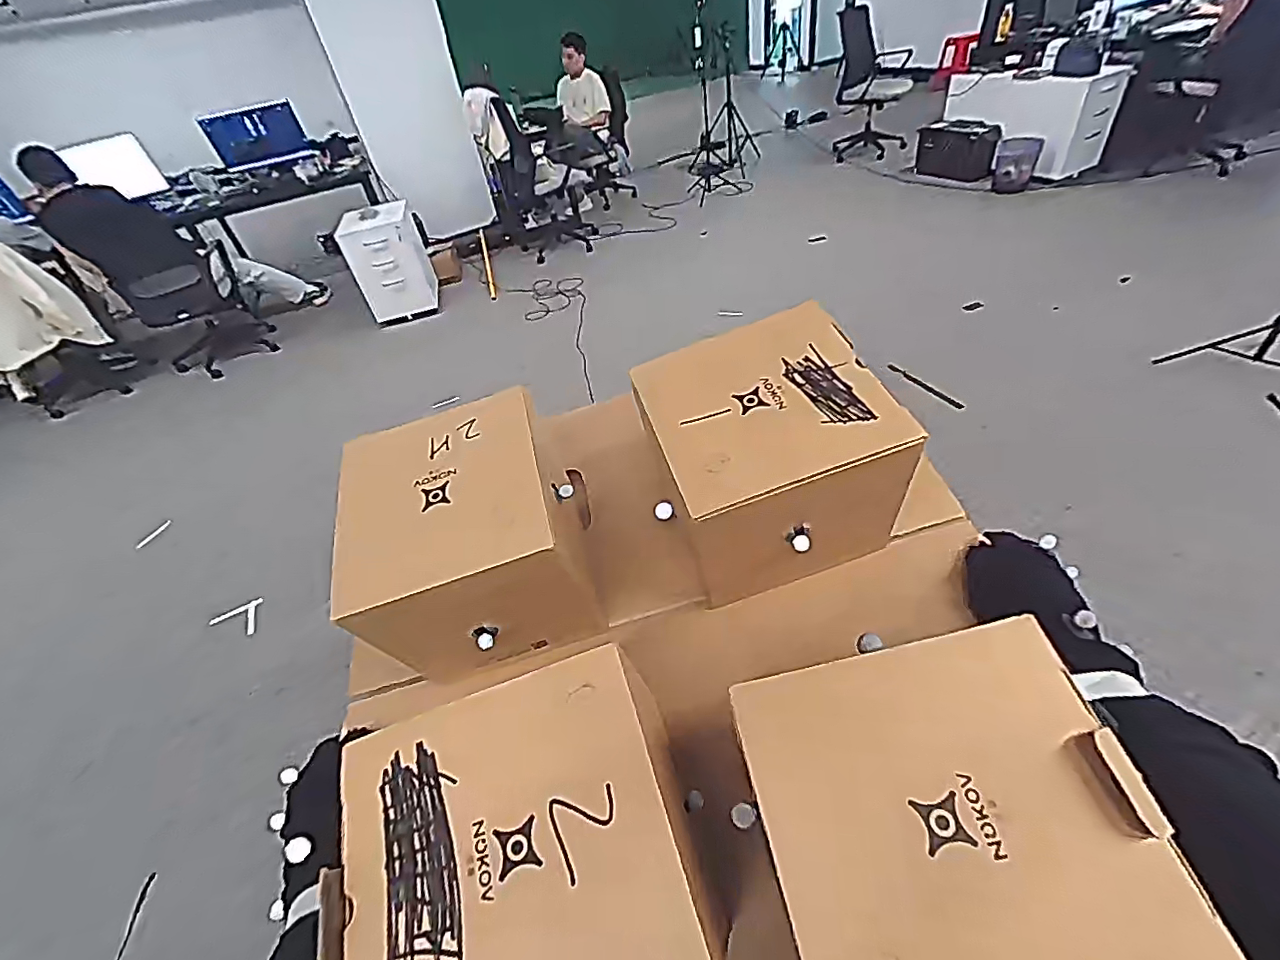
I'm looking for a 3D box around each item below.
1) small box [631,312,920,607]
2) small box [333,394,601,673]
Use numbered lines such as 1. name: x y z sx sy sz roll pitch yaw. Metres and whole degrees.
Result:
1. small box: 0.108 -0.011 0.483 0.179 0.176 0.168 -19 54 1
2. small box: -0.143 0.058 0.492 0.168 0.176 0.179 -18 53 0
